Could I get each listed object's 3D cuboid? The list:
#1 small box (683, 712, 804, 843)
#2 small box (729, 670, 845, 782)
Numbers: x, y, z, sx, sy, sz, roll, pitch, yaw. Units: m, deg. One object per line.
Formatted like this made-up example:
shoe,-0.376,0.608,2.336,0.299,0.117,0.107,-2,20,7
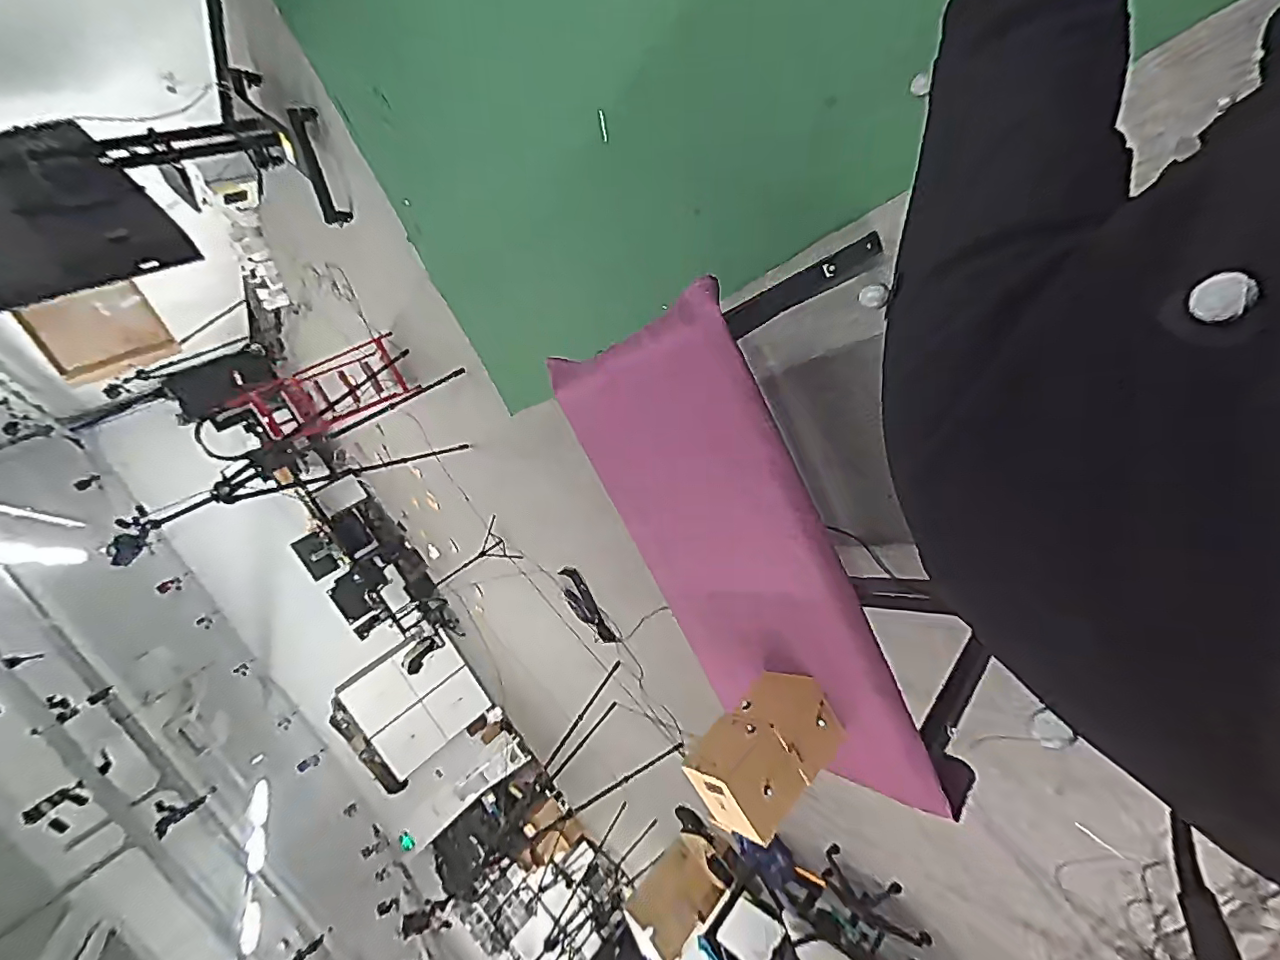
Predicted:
small box,0.237,0.663,1.232,0.168,0.176,0.179,-17,105,59
small box,0.359,0.587,1.318,0.168,0.176,0.179,58,148,-6
